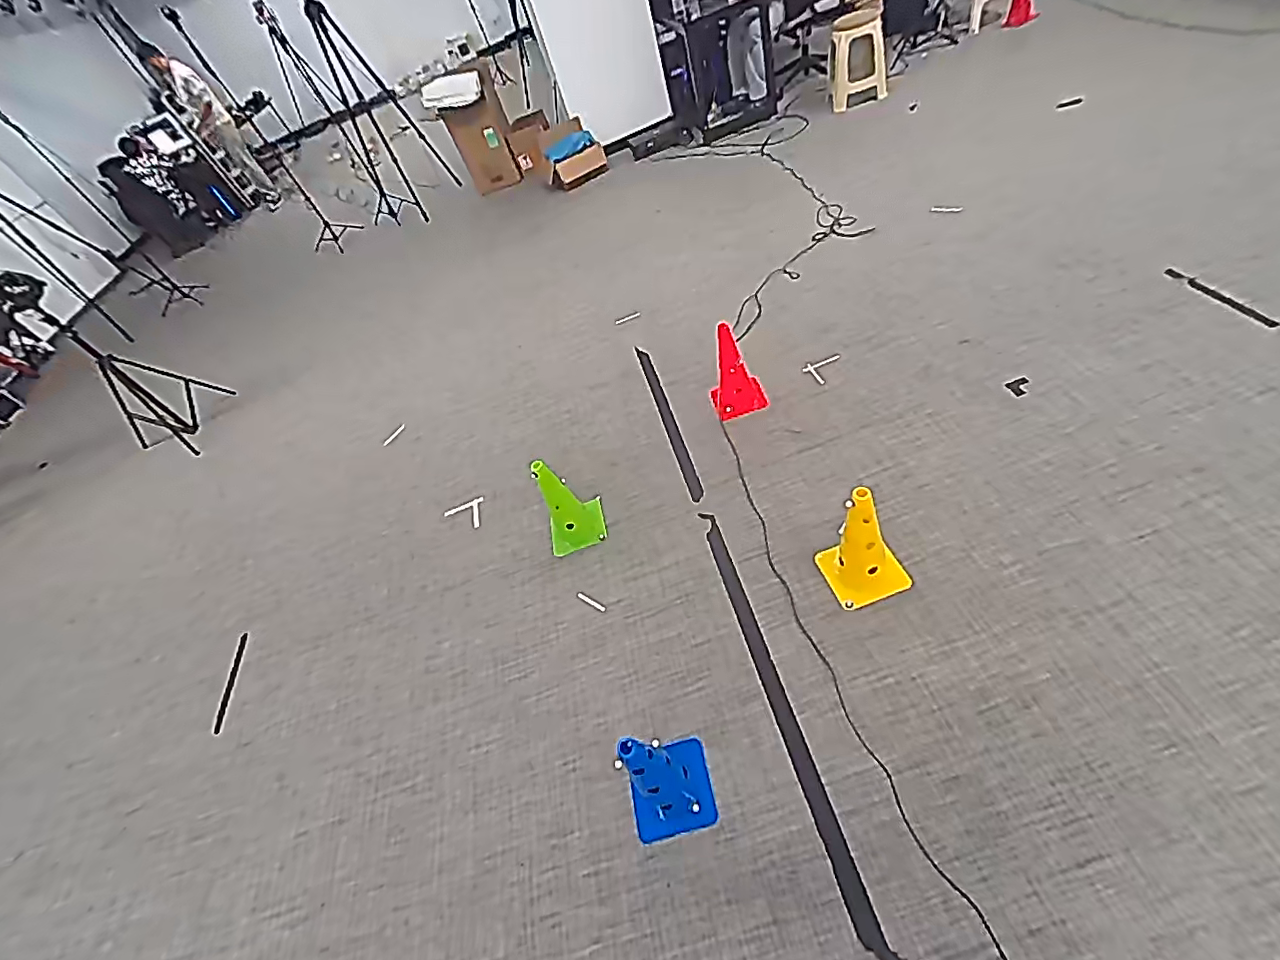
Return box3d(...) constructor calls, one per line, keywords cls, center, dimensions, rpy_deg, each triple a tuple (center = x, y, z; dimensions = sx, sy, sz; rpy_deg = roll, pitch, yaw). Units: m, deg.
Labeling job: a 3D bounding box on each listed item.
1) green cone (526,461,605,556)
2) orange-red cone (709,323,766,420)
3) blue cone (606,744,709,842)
box3d(cls="green cone", center=(-0.284, 0.061, 1.842), dimensions=(0.202, 0.368, 0.200), rpy_deg=(-22, 46, 5))
box3d(cls="orange-red cone", center=(0.338, -0.430, 2.029), dimensions=(0.199, 0.360, 0.198), rpy_deg=(-17, 48, 6))
box3d(cls="blue cone", center=(0.016, 0.658, 1.210), dimensions=(0.192, 0.380, 0.193), rpy_deg=(-19, 46, 7))
